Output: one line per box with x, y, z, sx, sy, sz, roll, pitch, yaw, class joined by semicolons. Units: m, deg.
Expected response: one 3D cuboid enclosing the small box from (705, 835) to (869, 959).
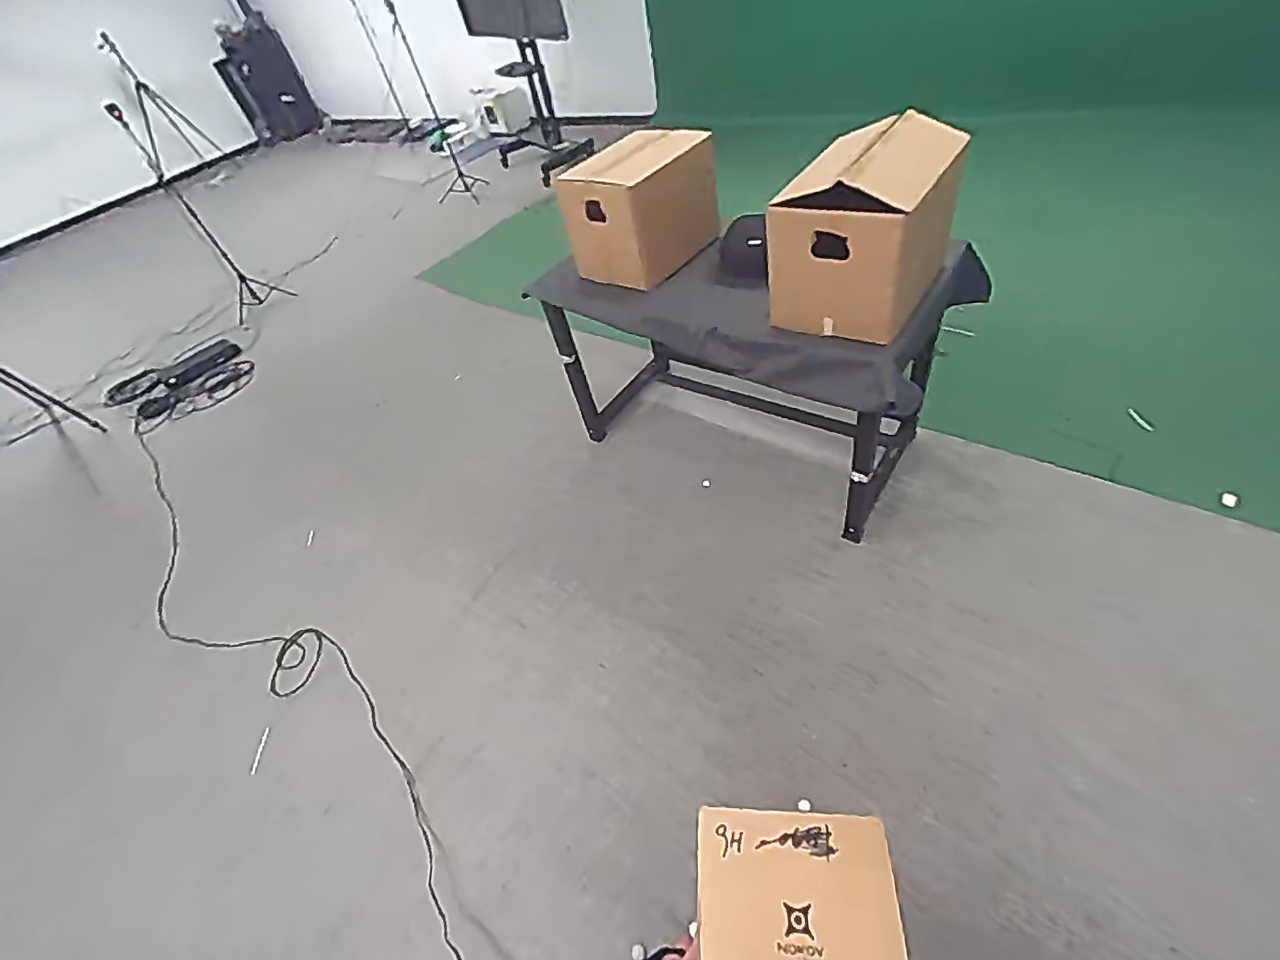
0.167;0.532;0.627;0.168;0.176;0.179;-5;46;8;small box
